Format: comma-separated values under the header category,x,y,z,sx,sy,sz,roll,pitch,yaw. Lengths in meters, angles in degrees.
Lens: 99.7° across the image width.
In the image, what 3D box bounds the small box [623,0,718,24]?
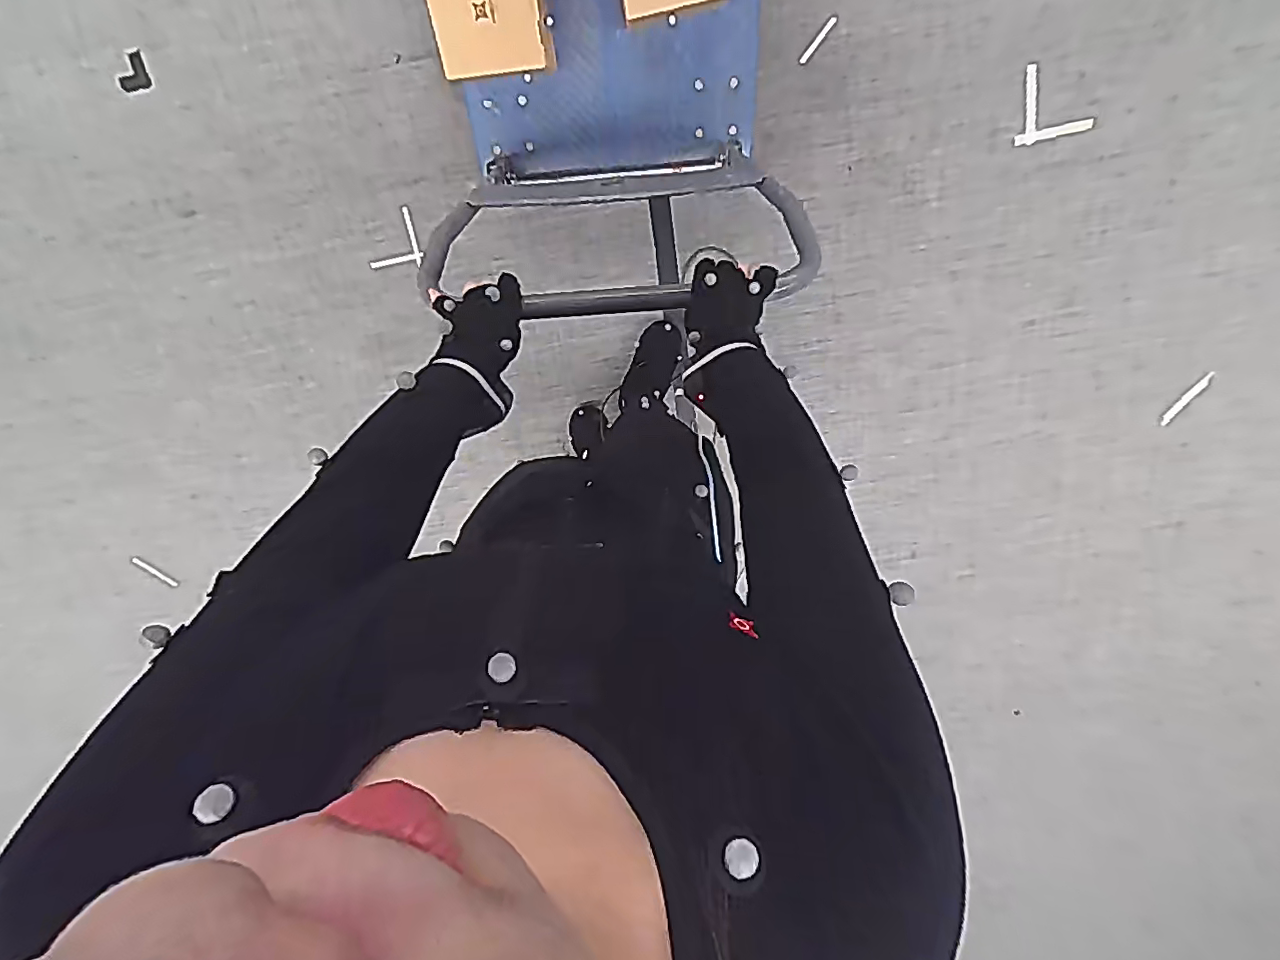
category,x,y,z,sx,sy,sz,roll,pitch,yaw
small box,0.049,-0.877,0.887,0.179,0.176,0.168,-9,125,6

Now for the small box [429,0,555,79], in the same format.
category,x,y,z,sx,sy,sz,roll,pitch,yaw
small box,-0.253,-0.806,0.934,0.179,0.176,0.168,-7,125,1
